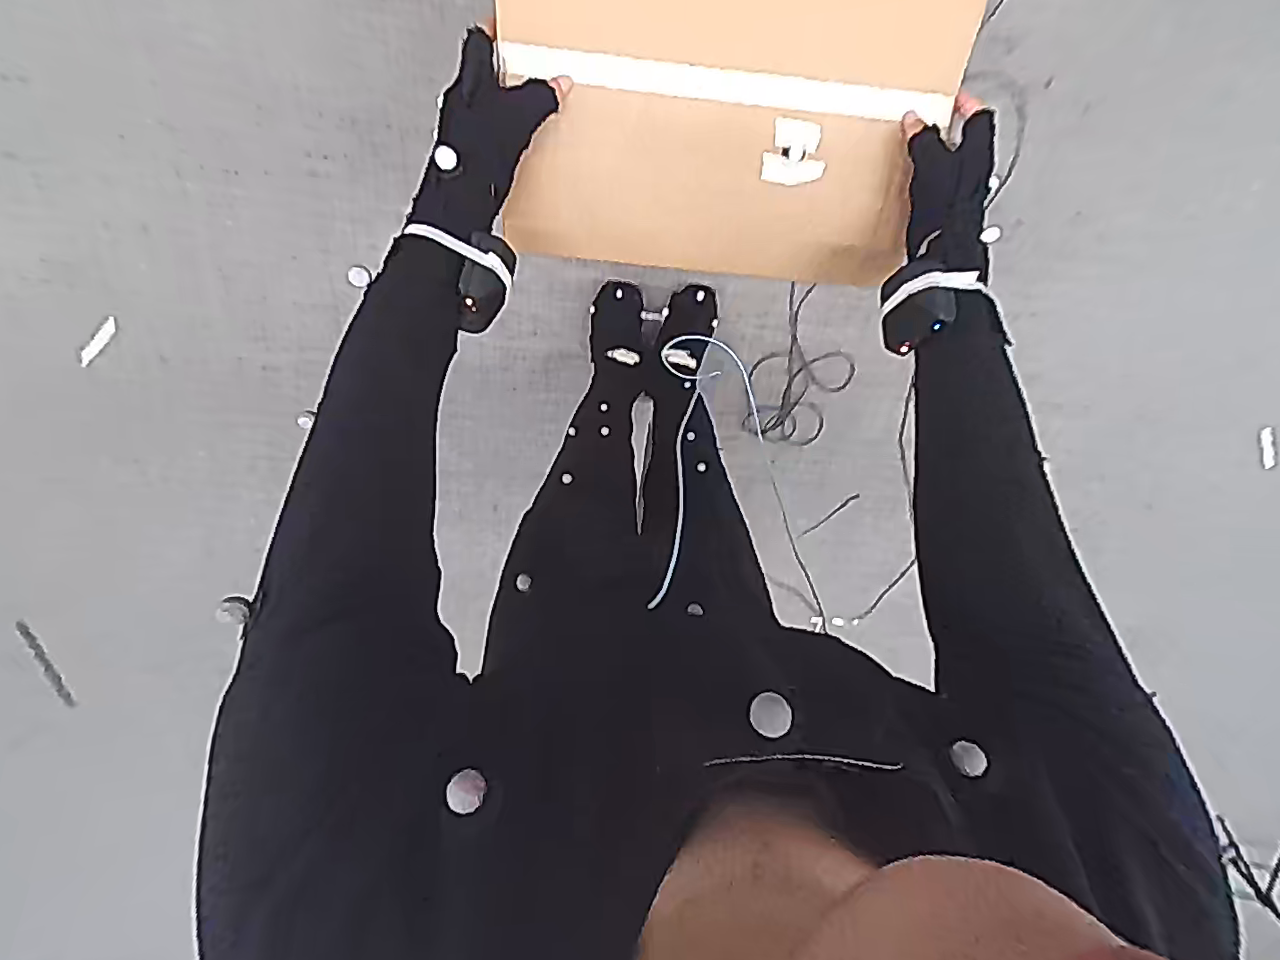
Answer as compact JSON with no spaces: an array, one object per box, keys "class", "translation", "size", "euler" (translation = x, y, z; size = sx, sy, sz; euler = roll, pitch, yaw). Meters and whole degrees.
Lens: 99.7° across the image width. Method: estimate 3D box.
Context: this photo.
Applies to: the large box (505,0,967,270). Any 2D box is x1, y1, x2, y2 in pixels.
[{"class":"large box","translation":[0.072,-0.444,0.618],"size":[0.408,0.320,0.320],"euler":[4,122,-5]}]
